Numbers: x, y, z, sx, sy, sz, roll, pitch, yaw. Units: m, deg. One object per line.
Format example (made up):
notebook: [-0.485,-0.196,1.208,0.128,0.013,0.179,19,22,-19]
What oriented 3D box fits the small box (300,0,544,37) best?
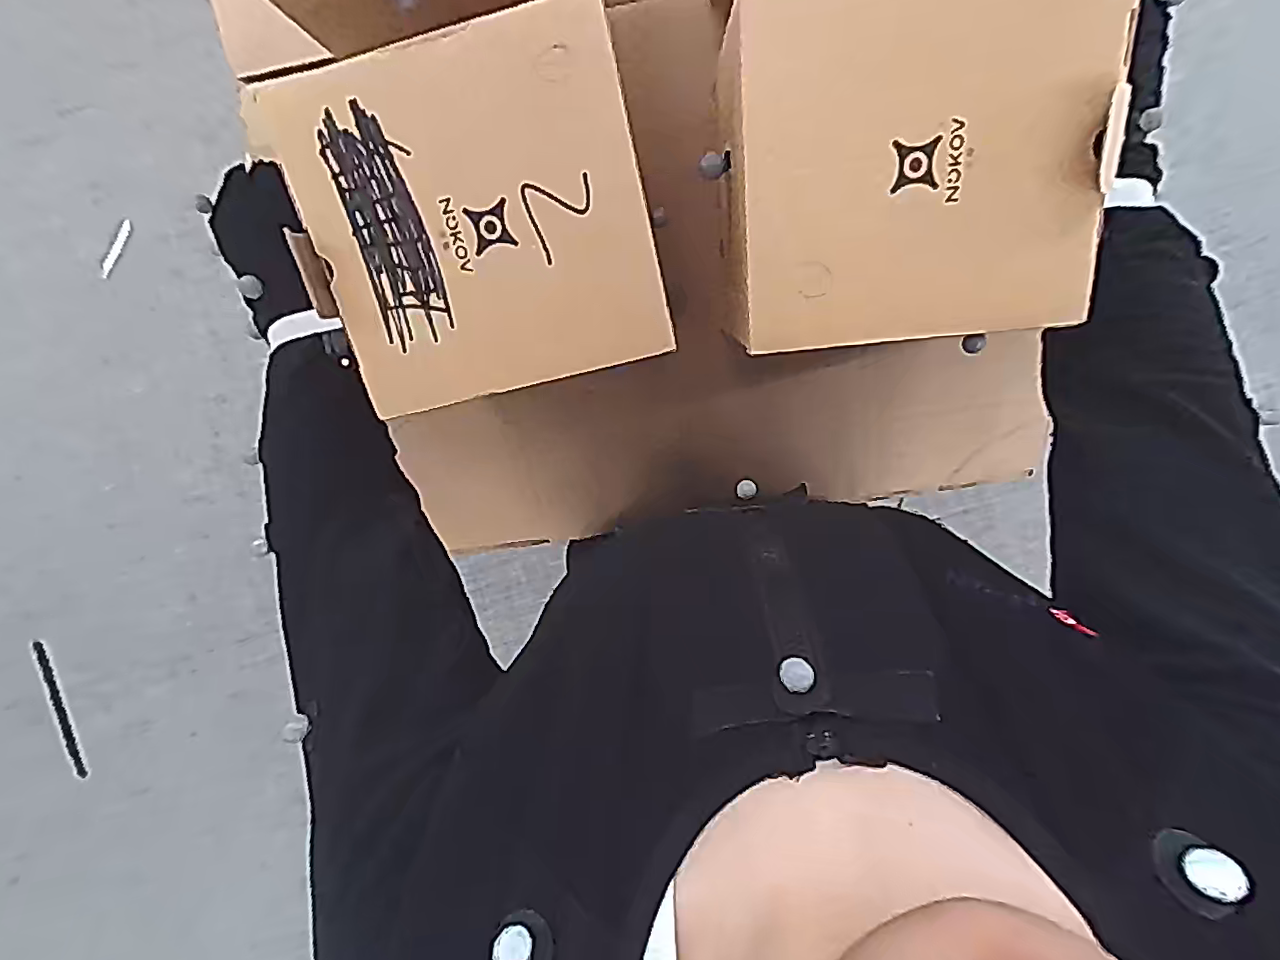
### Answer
small box: [-0.152,-0.383,0.290,0.168,0.176,0.179,-9,104,5]
